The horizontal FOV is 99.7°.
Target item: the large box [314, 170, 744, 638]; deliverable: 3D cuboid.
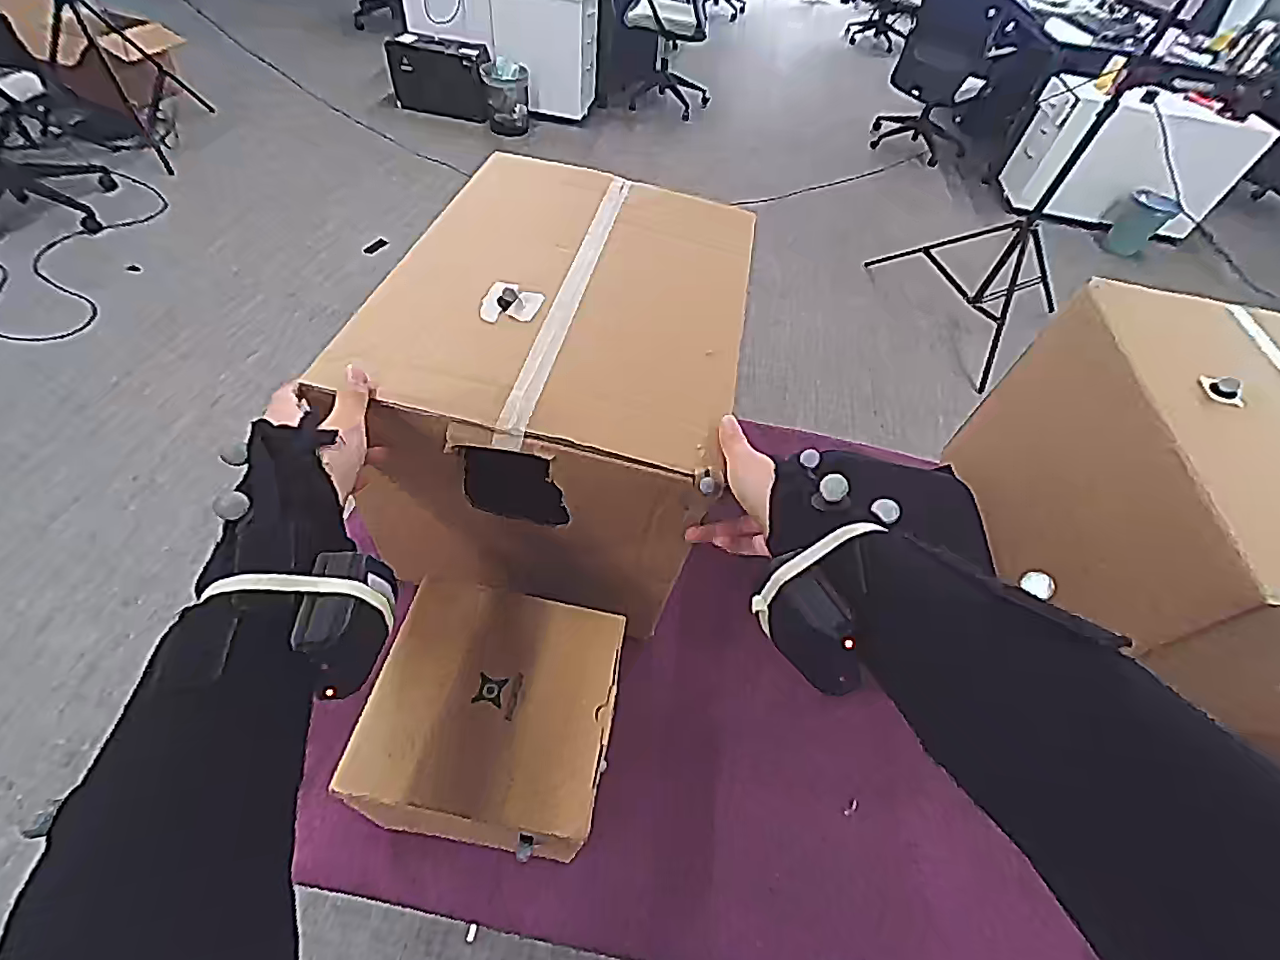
[{"bbox_3d":[-0.081,-0.085,0.632,0.320,0.320,0.408,12,54,0],"label":"large box"}]
